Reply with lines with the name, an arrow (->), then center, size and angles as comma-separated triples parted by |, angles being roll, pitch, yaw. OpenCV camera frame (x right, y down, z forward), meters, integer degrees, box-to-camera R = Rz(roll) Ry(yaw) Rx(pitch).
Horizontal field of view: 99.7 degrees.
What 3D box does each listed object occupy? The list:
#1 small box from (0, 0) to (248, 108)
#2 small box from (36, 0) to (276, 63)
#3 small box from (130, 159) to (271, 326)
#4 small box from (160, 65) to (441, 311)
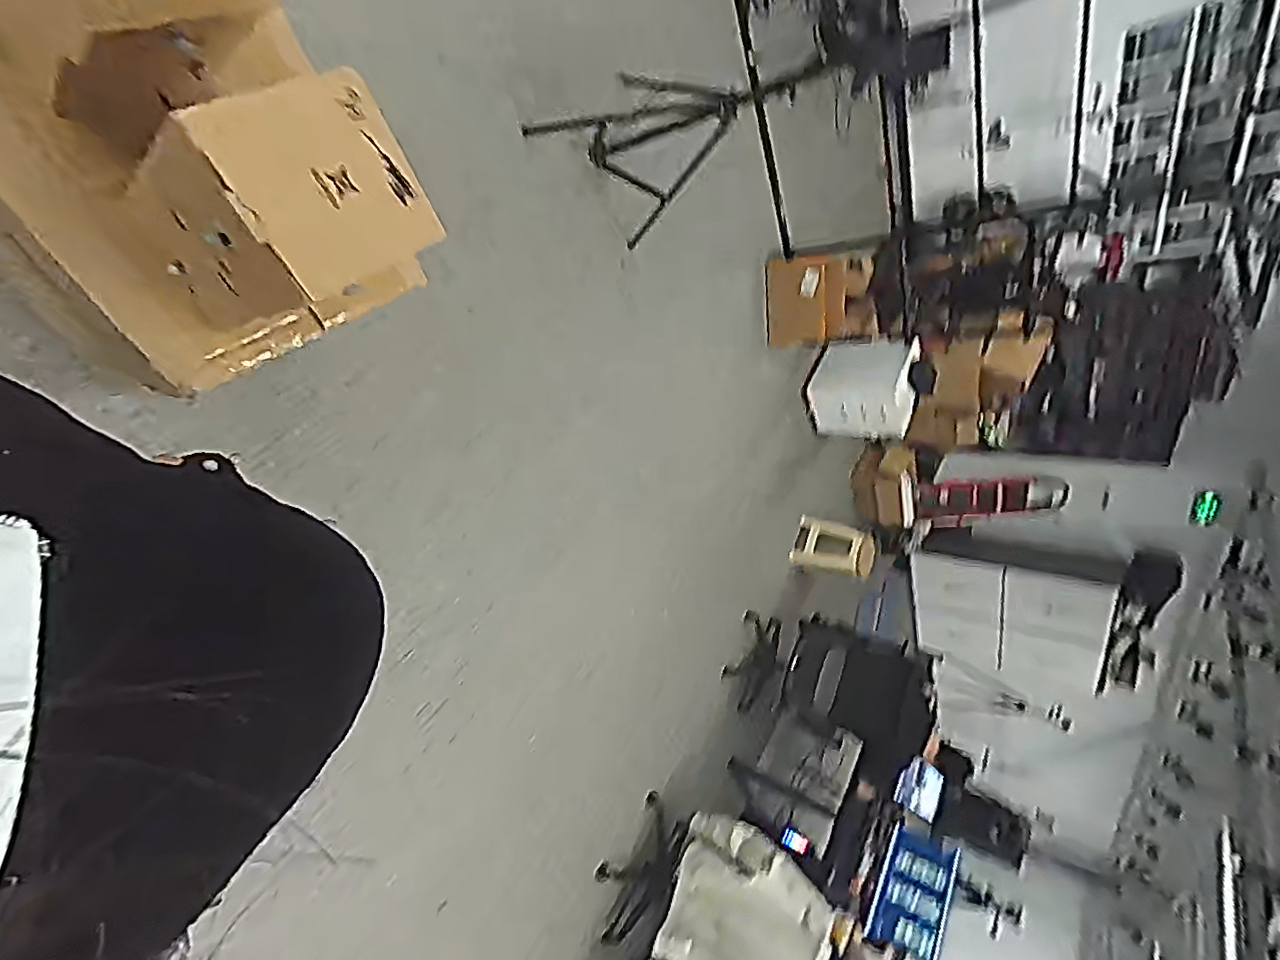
small box -> -0.560, -0.513, 0.551 | 0.179, 0.176, 0.168 | -46, 129, -33
small box -> -0.436, -0.490, 0.447 | 0.168, 0.176, 0.179 | -47, 130, -34
small box -> -0.481, -0.309, 0.678 | 0.179, 0.176, 0.168 | -47, 127, -34
small box -> -0.357, -0.294, 0.572 | 0.179, 0.176, 0.168 | -48, 128, -33
